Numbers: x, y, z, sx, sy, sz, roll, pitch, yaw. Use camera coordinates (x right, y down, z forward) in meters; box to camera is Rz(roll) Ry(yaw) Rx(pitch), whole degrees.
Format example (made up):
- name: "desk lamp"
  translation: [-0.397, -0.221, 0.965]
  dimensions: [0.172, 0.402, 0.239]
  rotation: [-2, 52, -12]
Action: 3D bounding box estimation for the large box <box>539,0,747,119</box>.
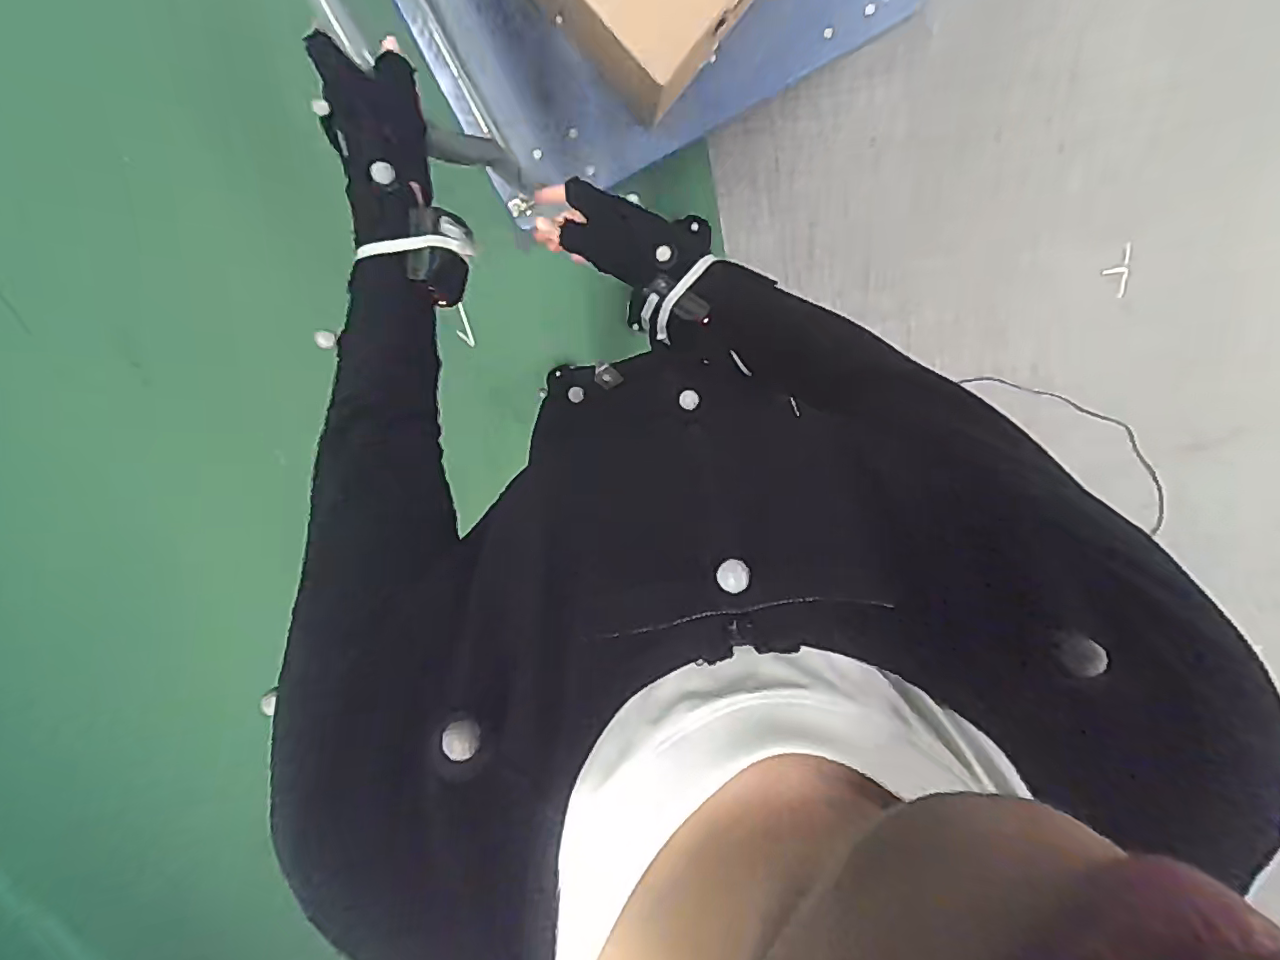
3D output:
- name: "large box"
  translation: [-0.021, -0.849, 0.805]
  dimensions: [0.408, 0.320, 0.320]
  rotation: [41, 106, -16]
